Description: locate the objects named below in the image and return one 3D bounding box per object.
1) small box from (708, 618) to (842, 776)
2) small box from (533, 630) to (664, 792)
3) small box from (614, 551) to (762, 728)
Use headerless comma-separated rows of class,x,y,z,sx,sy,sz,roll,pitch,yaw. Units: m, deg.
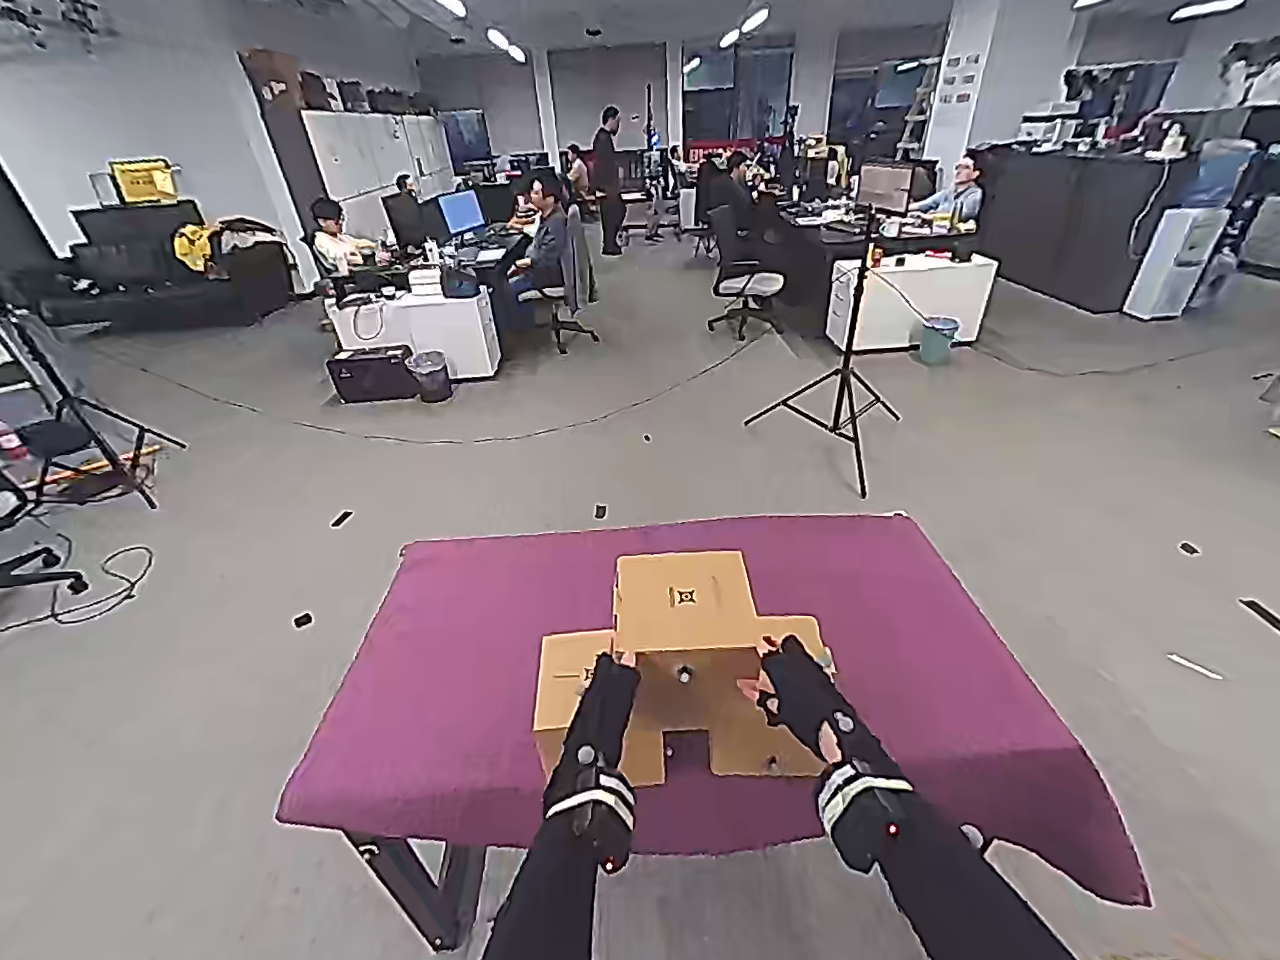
small box,0.194,0.336,0.840,0.179,0.176,0.168,-2,32,4
small box,-0.056,0.353,0.835,0.179,0.176,0.168,-6,32,0
small box,0.060,0.217,0.737,0.179,0.176,0.168,-3,35,0
